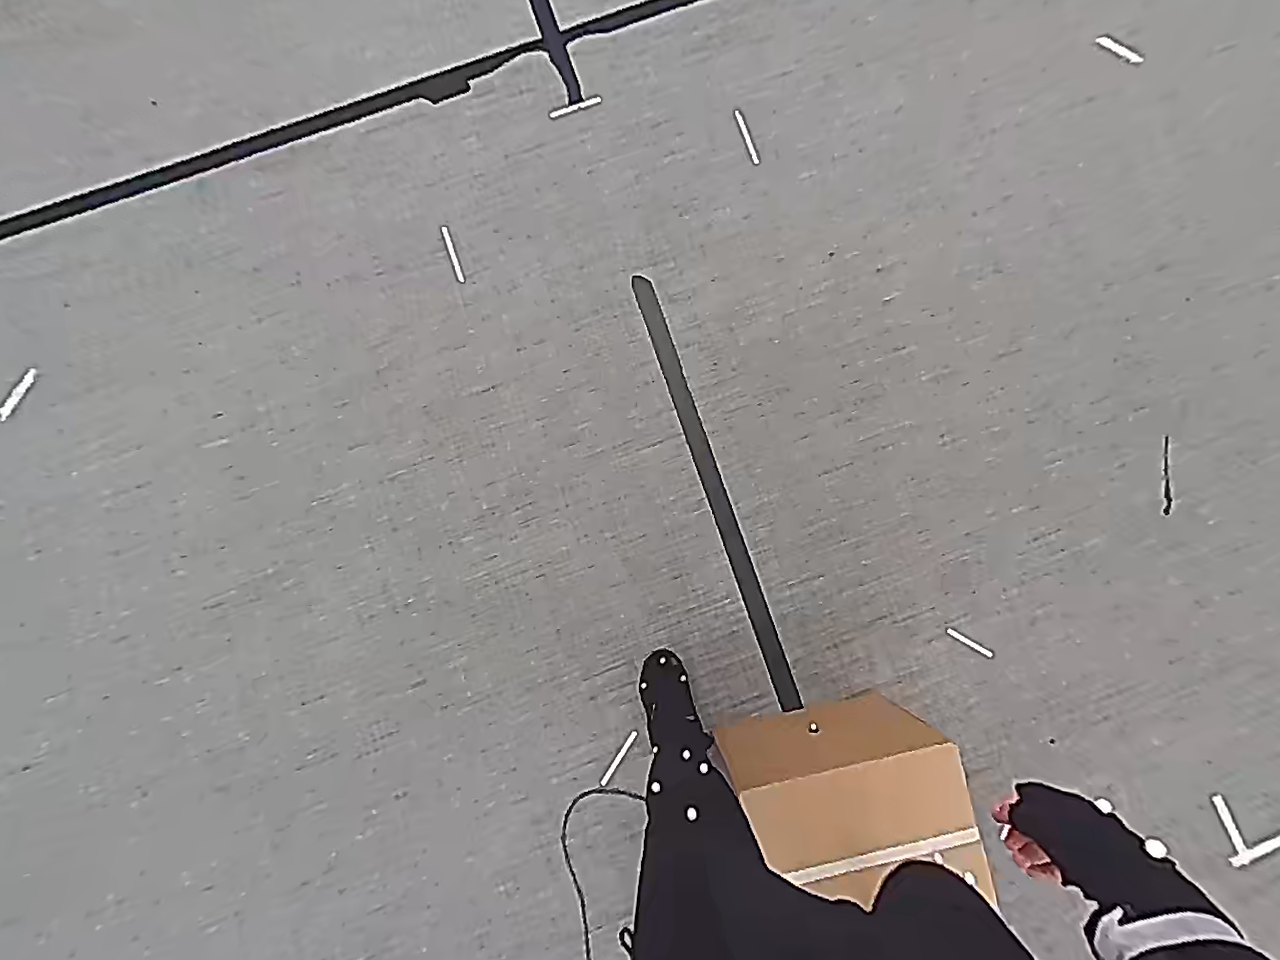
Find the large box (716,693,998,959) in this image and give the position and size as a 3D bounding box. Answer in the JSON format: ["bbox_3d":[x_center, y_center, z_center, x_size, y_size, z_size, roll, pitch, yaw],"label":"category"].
[{"bbox_3d":[0.401,0.671,1.094,0.408,0.320,0.320,-12,85,-3],"label":"large box"}]
